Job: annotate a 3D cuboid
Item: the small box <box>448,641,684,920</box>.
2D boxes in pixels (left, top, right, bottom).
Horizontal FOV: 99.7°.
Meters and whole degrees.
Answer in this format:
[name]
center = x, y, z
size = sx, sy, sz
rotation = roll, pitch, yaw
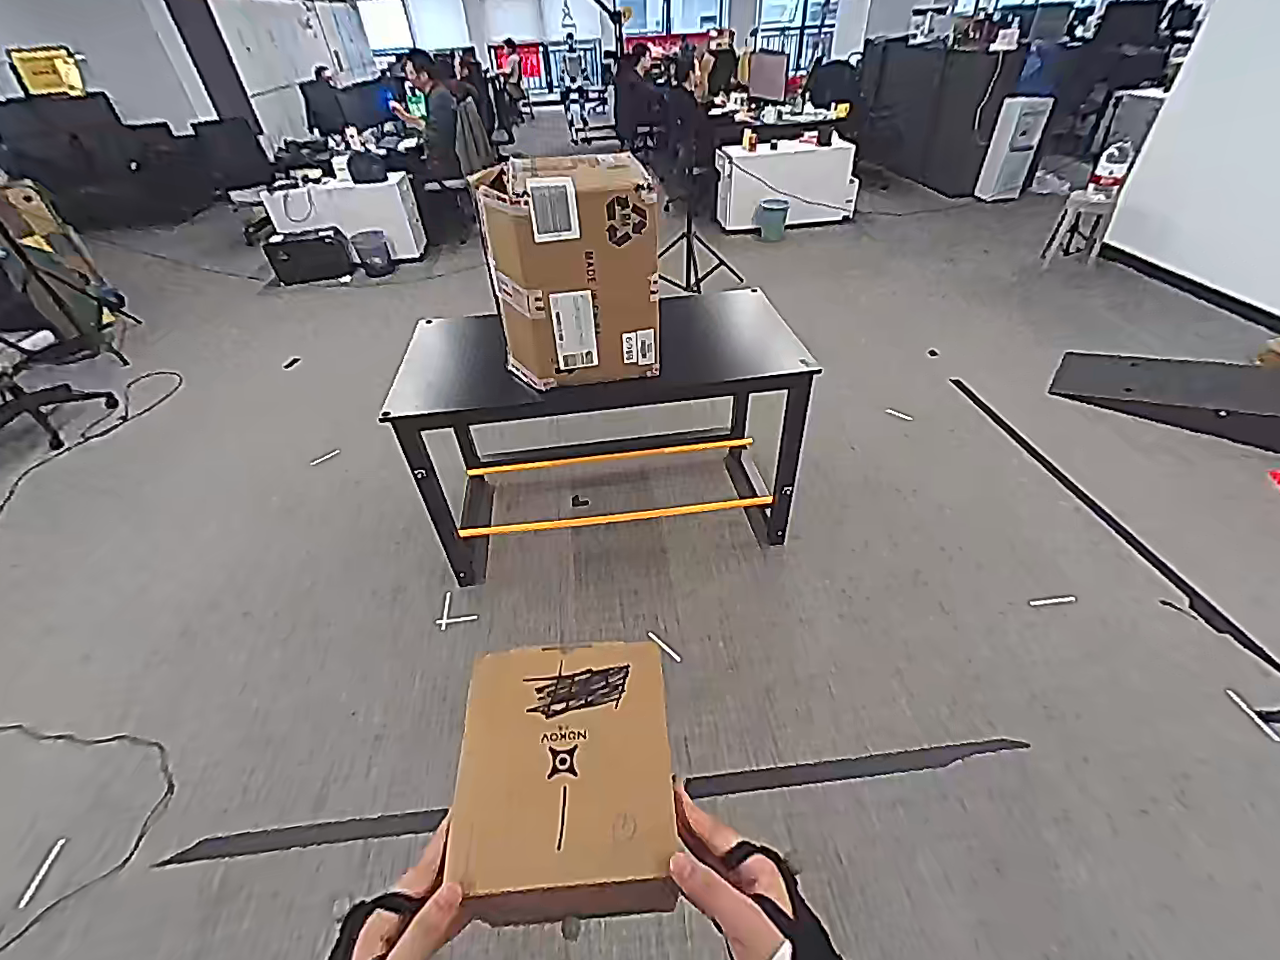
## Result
[small box]
center = -0.055, 0.268, 0.486
size = 0.168, 0.176, 0.179
rotation = -4, 45, -2
